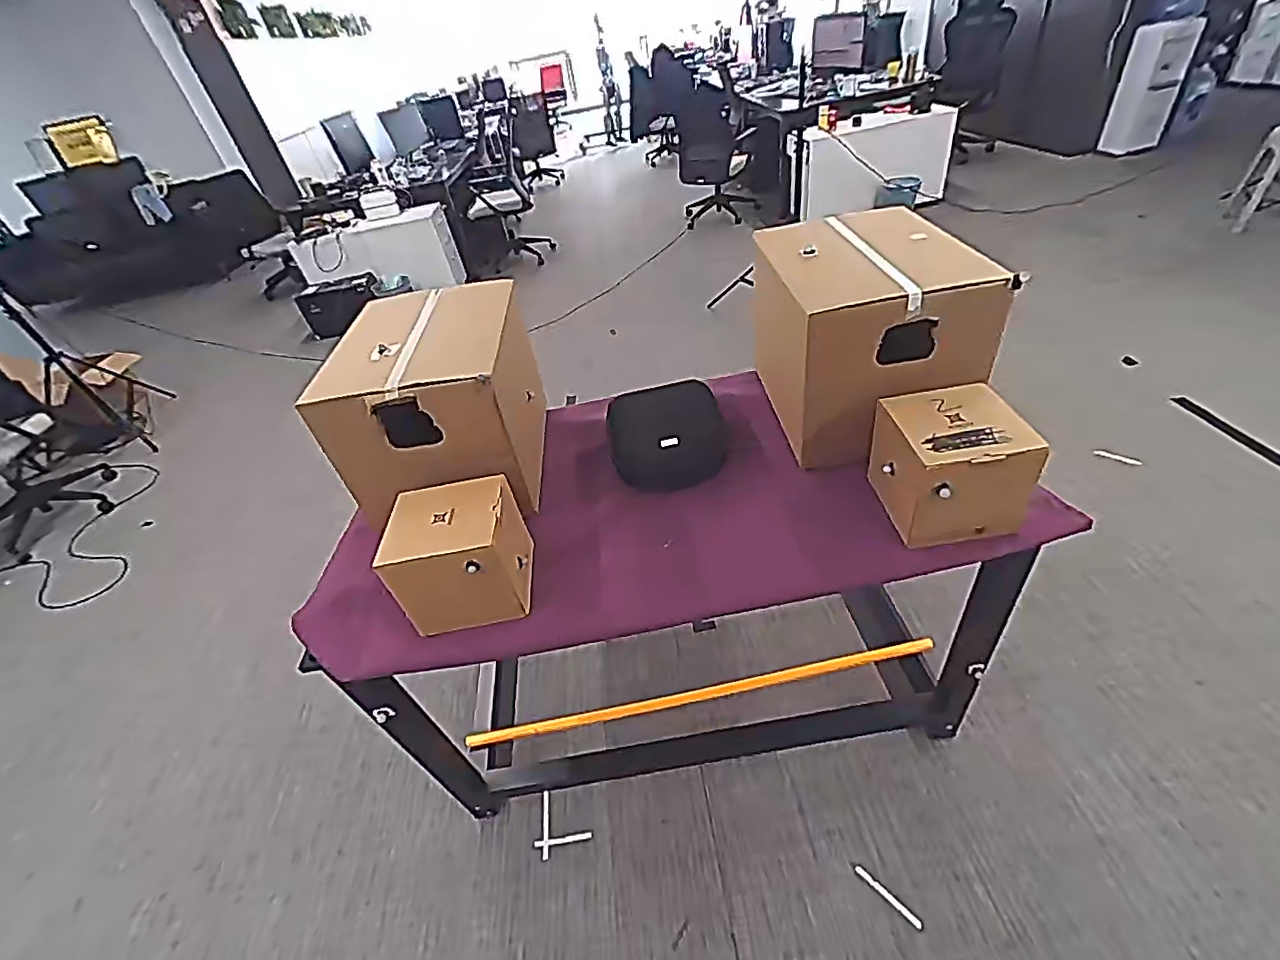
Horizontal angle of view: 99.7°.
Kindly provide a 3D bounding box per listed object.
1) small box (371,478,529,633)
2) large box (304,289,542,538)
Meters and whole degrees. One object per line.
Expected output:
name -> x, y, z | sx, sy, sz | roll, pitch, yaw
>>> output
small box -> -0.290, 0.124, 0.871 | 0.179, 0.176, 0.168 | -11, 39, 0
large box -> -0.384, -0.140, 1.091 | 0.320, 0.320, 0.408 | -9, 42, 1
